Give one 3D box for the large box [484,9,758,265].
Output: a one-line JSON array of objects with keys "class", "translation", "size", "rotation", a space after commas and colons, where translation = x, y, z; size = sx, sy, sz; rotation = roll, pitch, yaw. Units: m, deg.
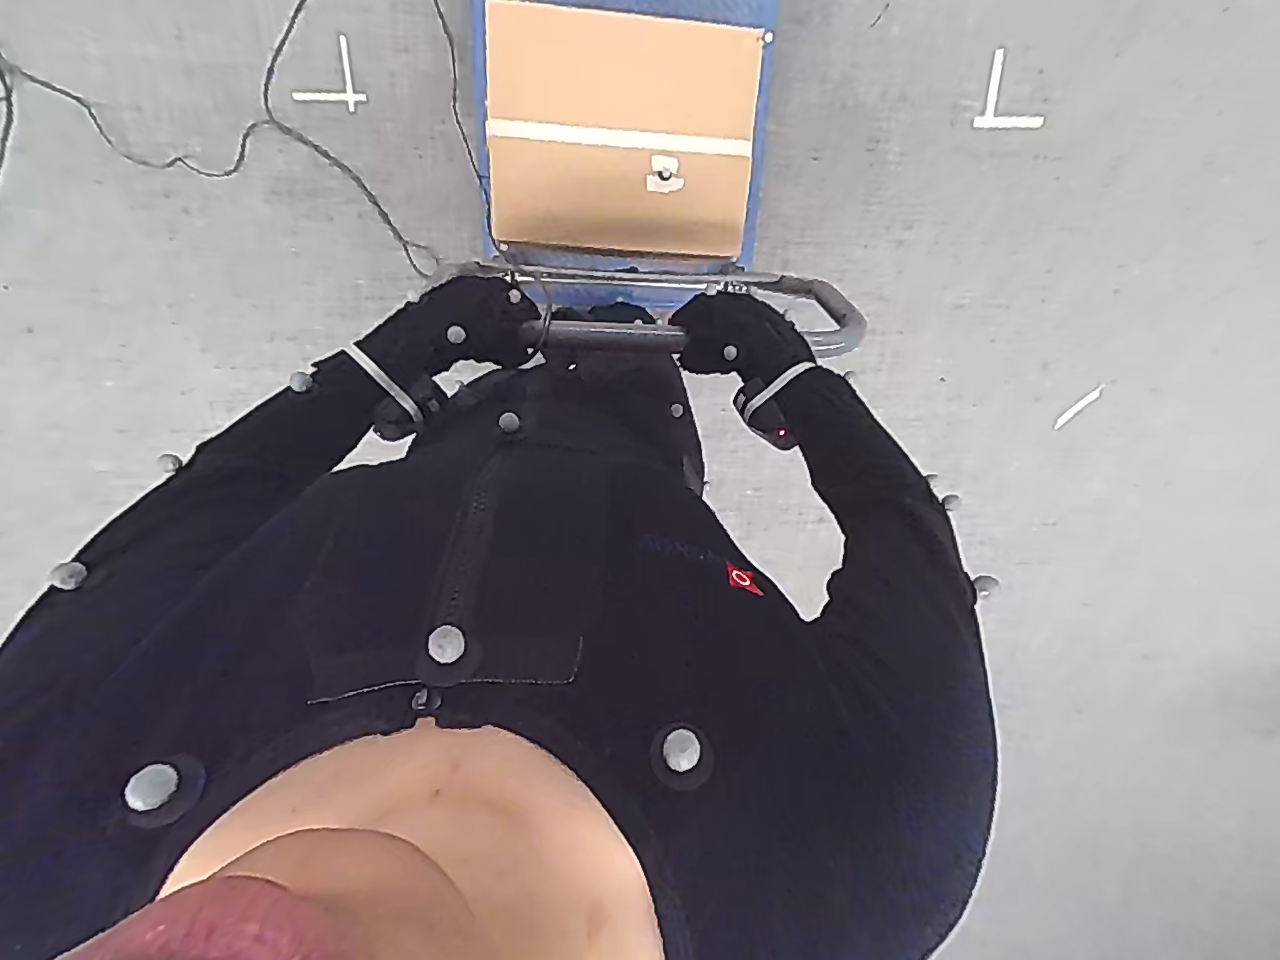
[{"class": "large box", "translation": [-0.044, -0.563, 0.964], "size": [0.408, 0.320, 0.320], "rotation": [1, 110, -6]}]
